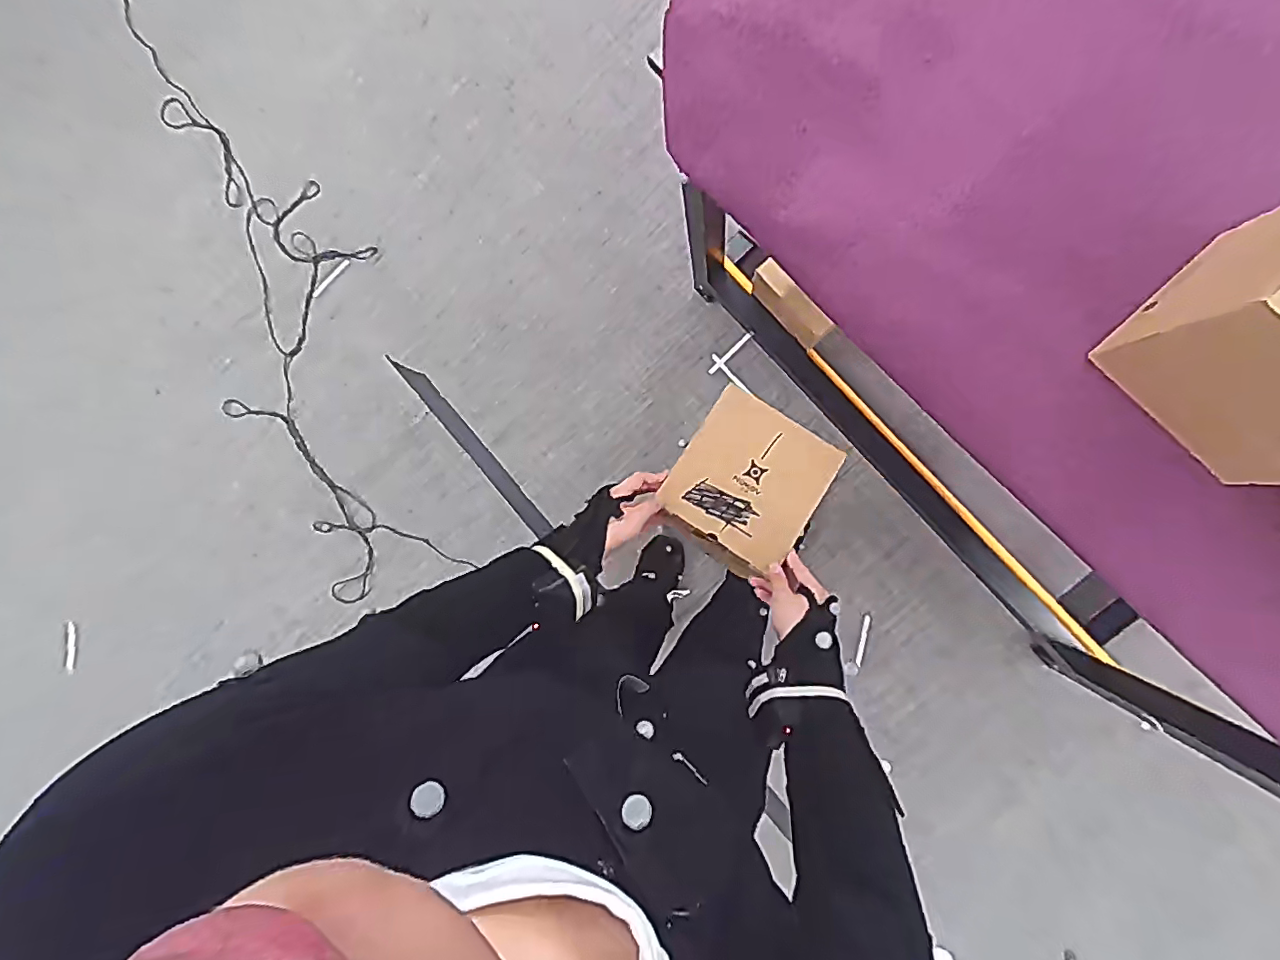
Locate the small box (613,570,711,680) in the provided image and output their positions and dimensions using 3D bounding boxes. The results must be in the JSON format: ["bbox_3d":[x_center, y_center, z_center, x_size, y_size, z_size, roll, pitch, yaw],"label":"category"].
[{"bbox_3d":[0.048,0.321,1.225,0.179,0.176,0.168,26,90,5],"label":"small box"}]
